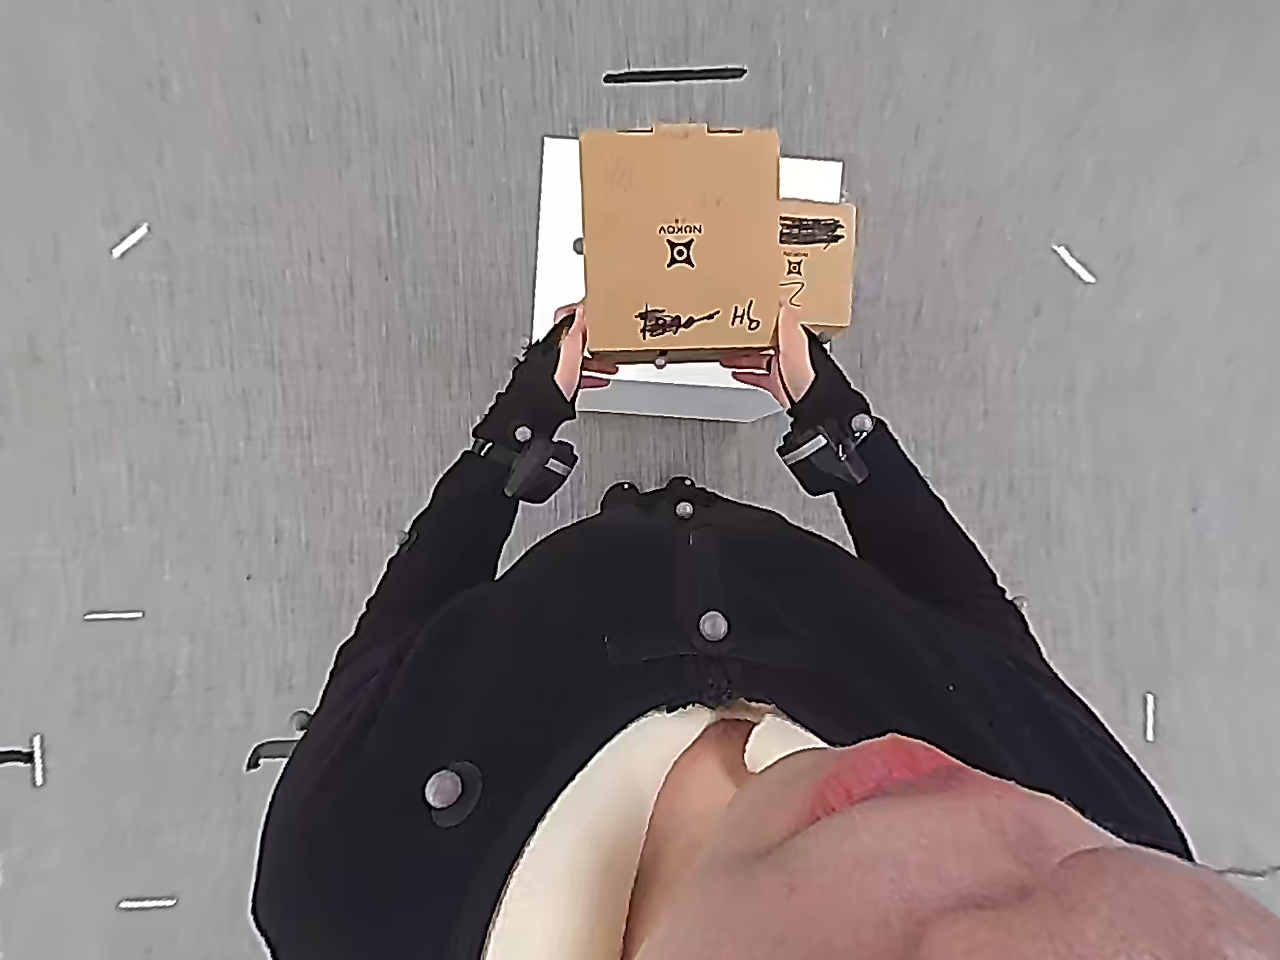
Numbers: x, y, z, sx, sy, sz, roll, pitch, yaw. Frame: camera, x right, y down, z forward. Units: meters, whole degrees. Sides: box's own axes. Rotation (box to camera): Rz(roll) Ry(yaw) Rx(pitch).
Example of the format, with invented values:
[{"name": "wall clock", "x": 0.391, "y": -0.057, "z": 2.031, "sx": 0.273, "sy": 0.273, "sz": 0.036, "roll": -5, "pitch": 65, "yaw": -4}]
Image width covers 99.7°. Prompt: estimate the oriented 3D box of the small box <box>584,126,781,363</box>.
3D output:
[{"name": "small box", "x": 0.031, "y": -0.210, "z": 0.527, "sx": 0.168, "sy": 0.176, "sz": 0.179, "roll": -2, "pitch": 99, "yaw": -2}]
